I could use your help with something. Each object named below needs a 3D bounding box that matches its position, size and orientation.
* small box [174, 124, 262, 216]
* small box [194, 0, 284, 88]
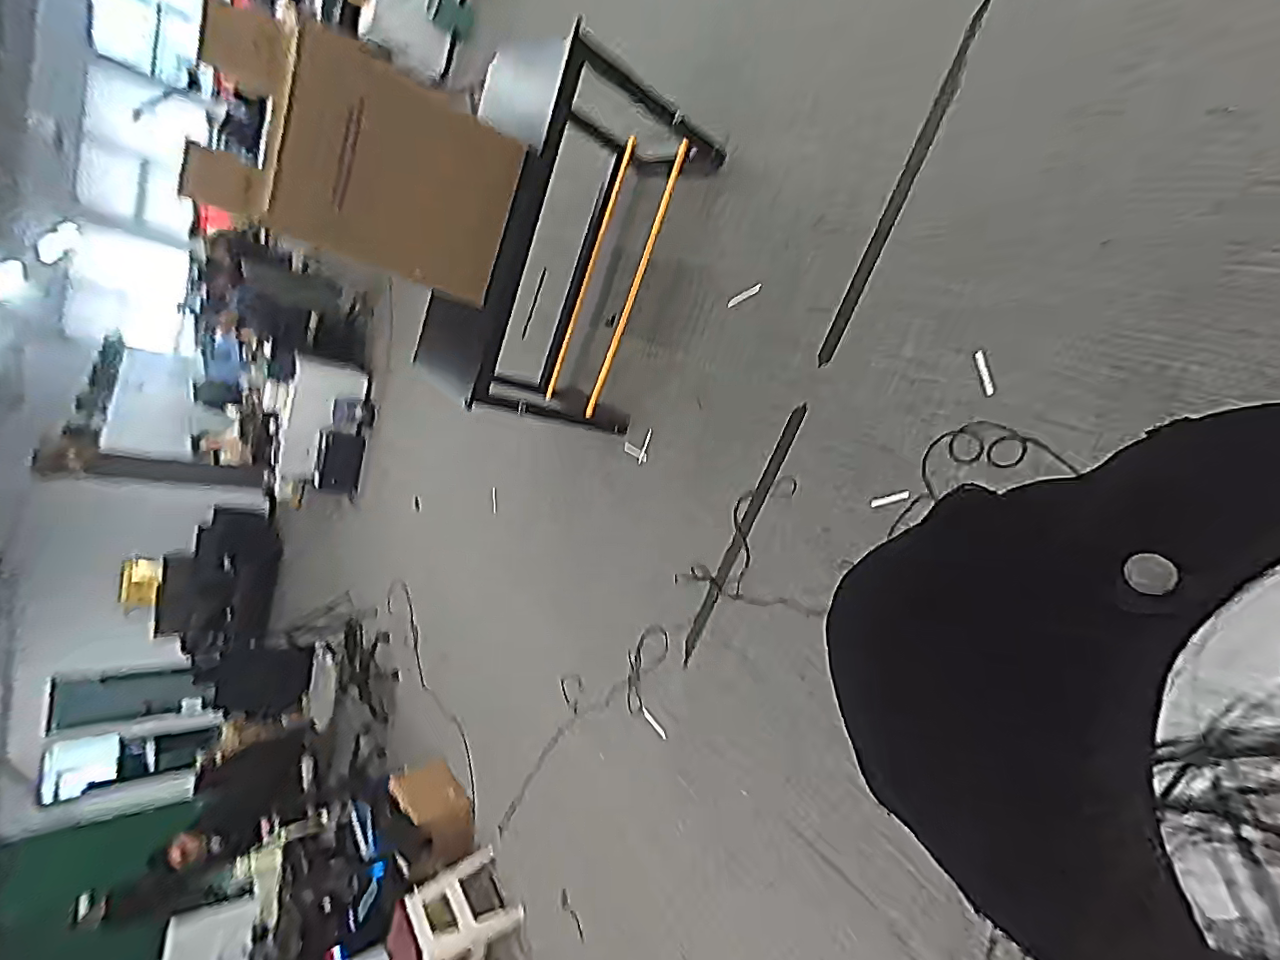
[{"bbox_3d":[-1.191,-0.866,1.529,0.179,0.176,0.168,27,103,46],"label":"small box"},{"bbox_3d":[-1.058,-1.174,1.429,0.179,0.176,0.168,35,112,45],"label":"small box"}]
